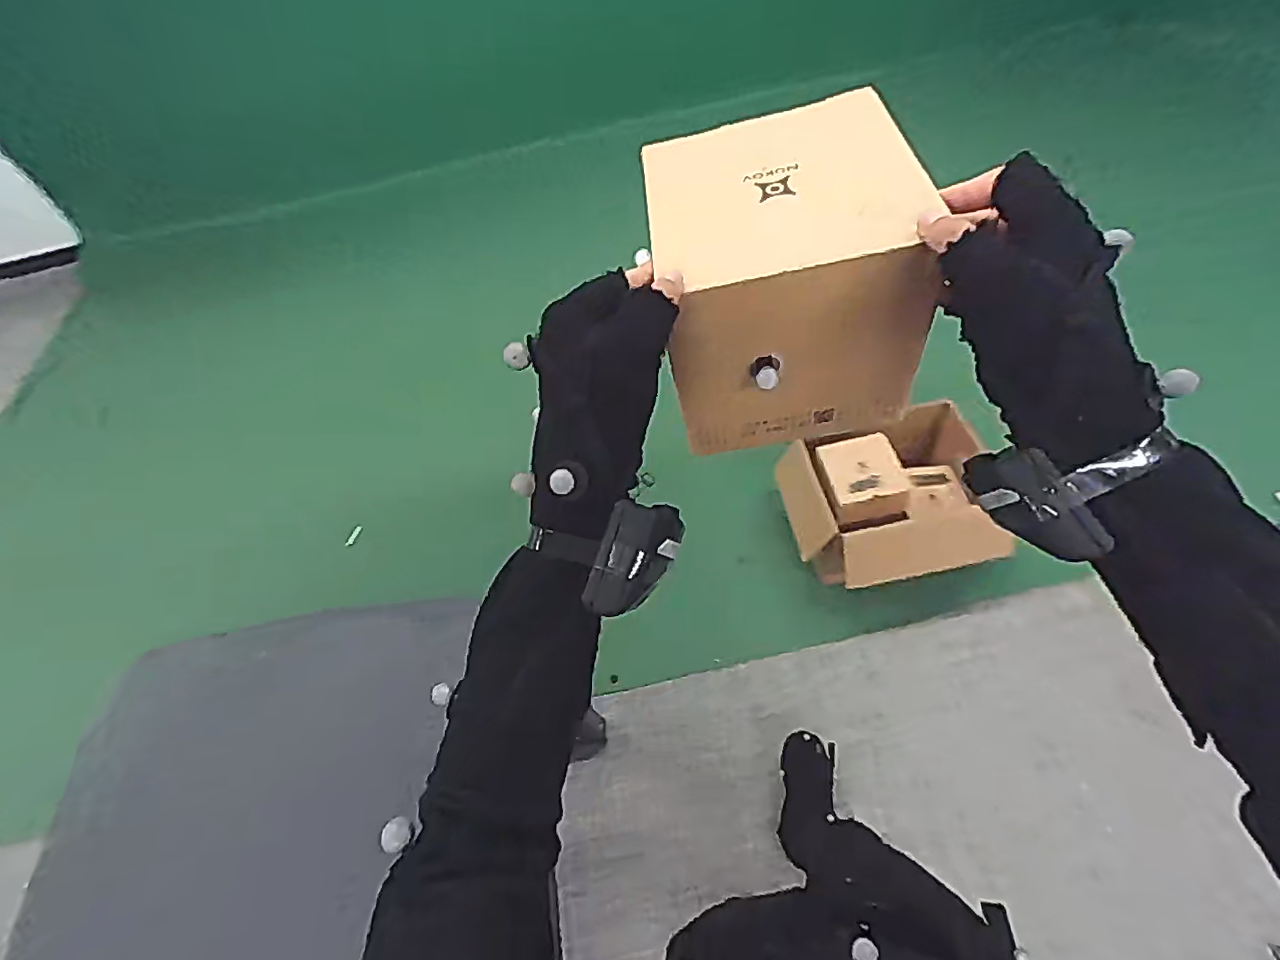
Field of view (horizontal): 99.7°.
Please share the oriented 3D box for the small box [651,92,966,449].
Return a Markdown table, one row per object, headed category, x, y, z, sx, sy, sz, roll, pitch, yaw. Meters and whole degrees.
| category | x | y | z | sx | sy | sz | roll | pitch | yaw |
| --- | --- | --- | --- | --- | --- | --- | --- | --- | --- |
| small box | 0.108 | -0.138 | 0.403 | 0.168 | 0.176 | 0.179 | -9 | 56 | 10 |
